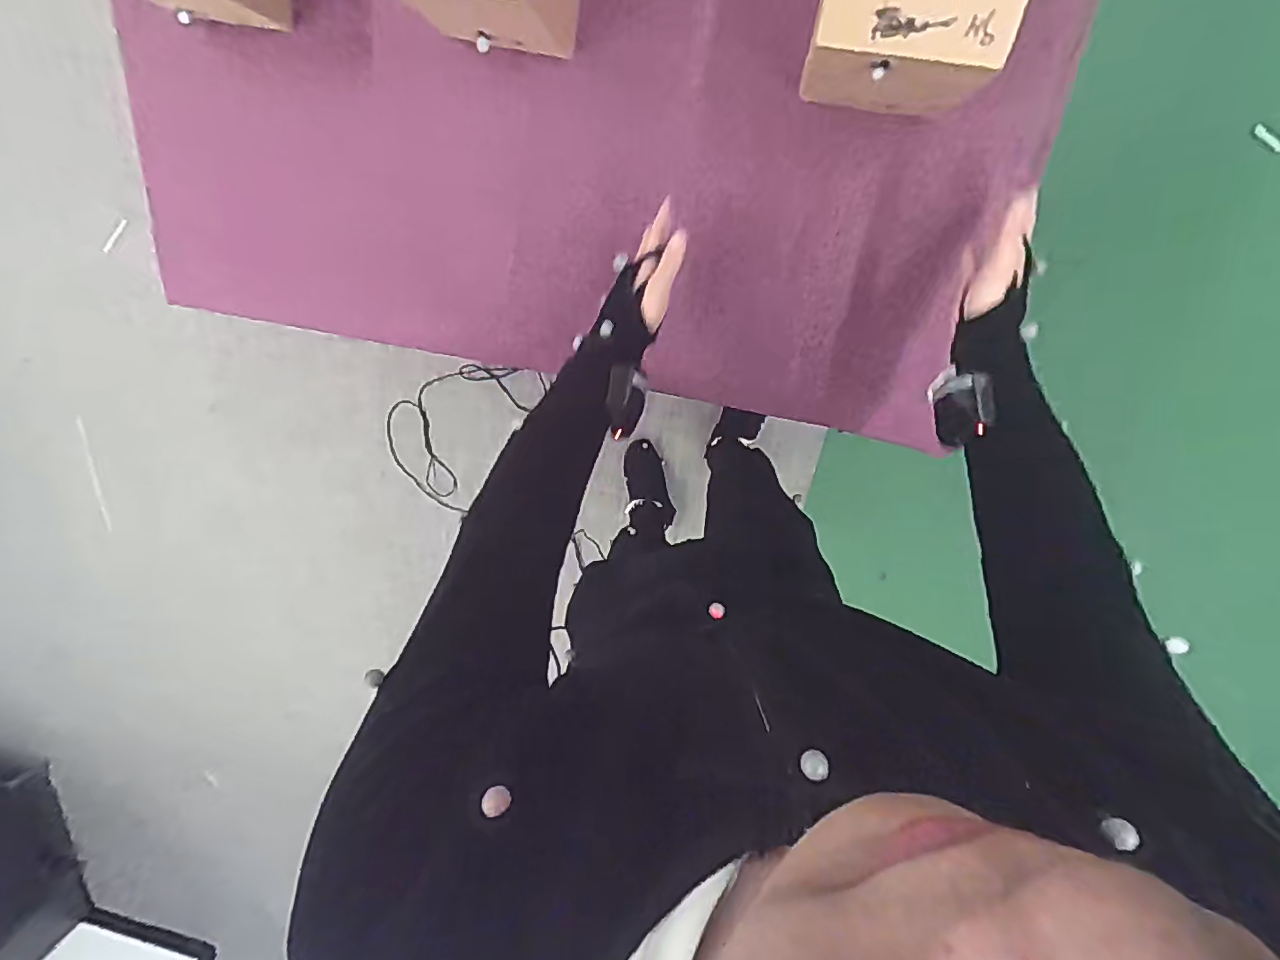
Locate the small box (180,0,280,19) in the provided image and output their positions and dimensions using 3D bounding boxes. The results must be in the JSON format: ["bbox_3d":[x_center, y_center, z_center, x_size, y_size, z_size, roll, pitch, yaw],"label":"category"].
[{"bbox_3d":[-0.526,-0.645,0.586,0.168,0.176,0.179,13,114,4],"label":"small box"}]

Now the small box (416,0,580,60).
[{"bbox_3d":[-0.155,-0.577,0.556,0.168,0.176,0.179,15,114,4],"label":"small box"}]

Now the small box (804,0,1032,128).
[{"bbox_3d":[0.267,-0.473,0.524,0.168,0.176,0.179,13,113,5],"label":"small box"}]
